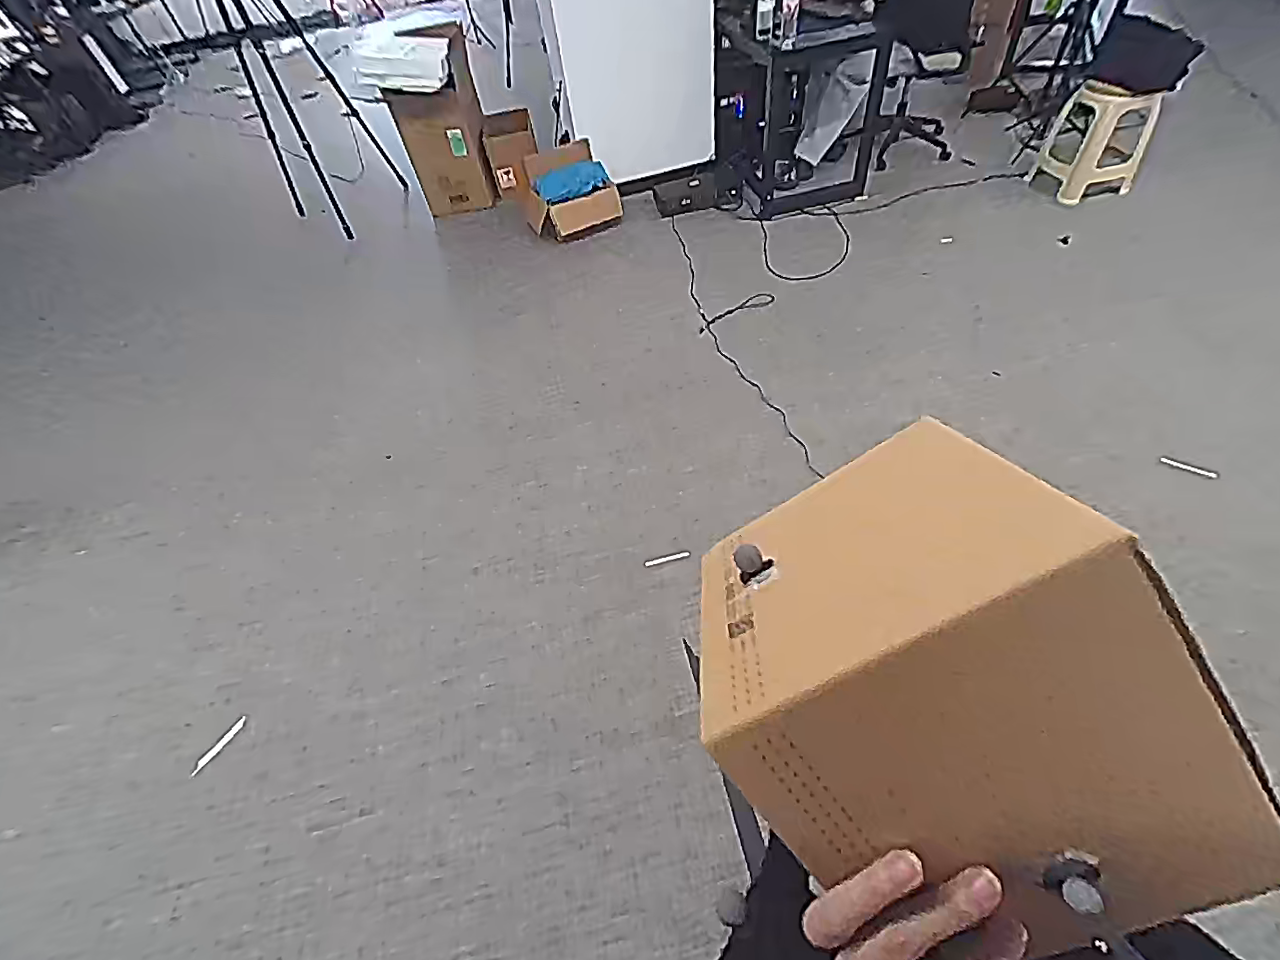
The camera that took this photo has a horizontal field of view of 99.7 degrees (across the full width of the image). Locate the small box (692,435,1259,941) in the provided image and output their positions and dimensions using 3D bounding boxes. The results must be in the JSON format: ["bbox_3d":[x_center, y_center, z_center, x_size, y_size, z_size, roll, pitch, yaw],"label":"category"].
[{"bbox_3d":[0.148,0.108,0.301,0.176,0.179,0.168,-35,13,17],"label":"small box"}]
